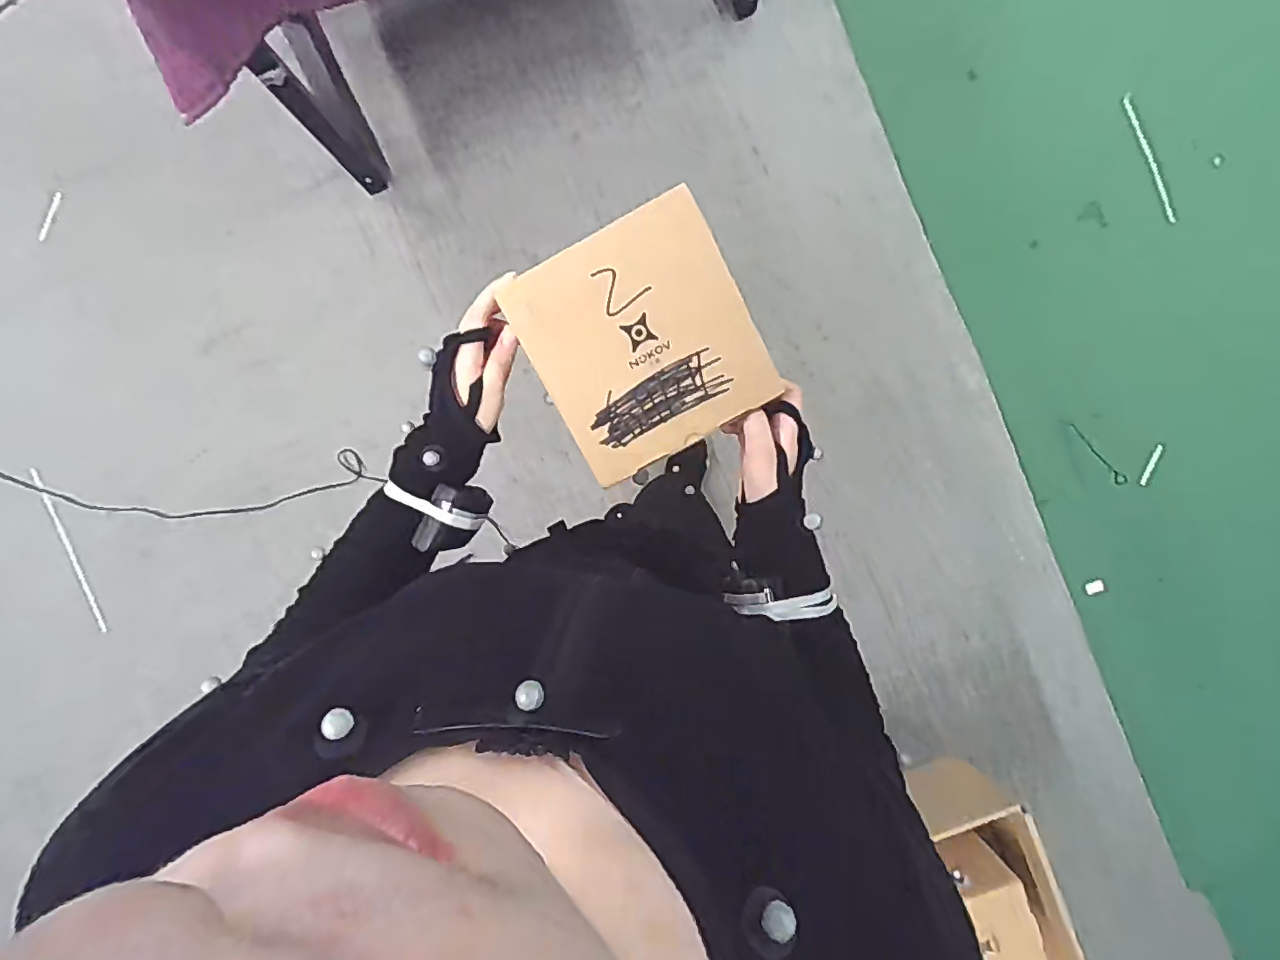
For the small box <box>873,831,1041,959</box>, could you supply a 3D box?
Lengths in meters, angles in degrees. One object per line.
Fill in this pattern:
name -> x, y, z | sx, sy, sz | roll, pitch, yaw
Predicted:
small box -> 0.545, 0.759, 0.942 | 0.179, 0.176, 0.168 | -19, 89, -1
